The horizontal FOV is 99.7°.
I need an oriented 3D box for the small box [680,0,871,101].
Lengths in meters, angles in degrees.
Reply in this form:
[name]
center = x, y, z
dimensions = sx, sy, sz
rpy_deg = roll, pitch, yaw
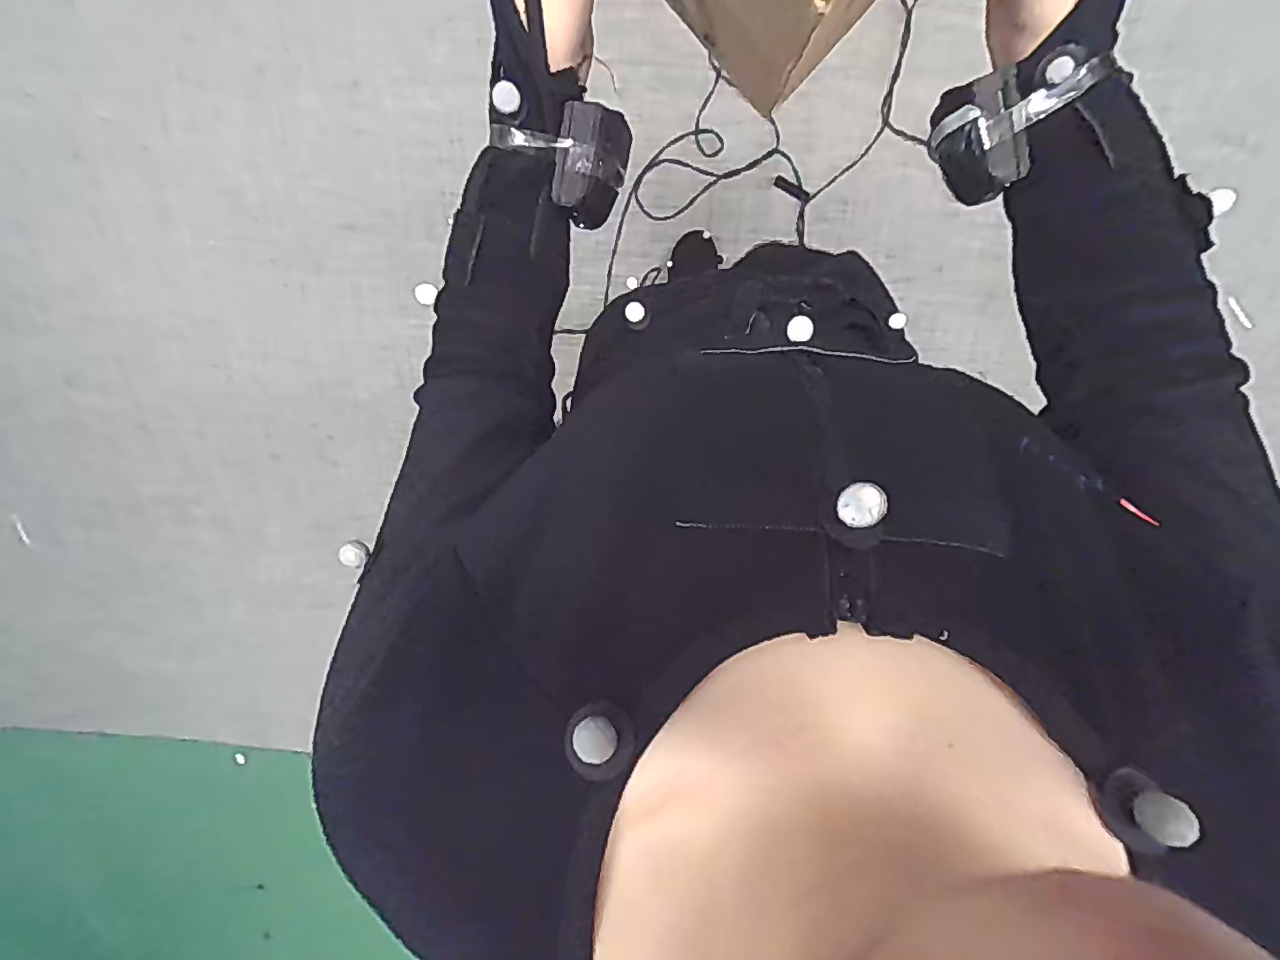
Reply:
[small box]
center = 0.081, -0.335, 0.261
dimensions = 0.168, 0.176, 0.179
rpy_deg = 43, 109, -10
